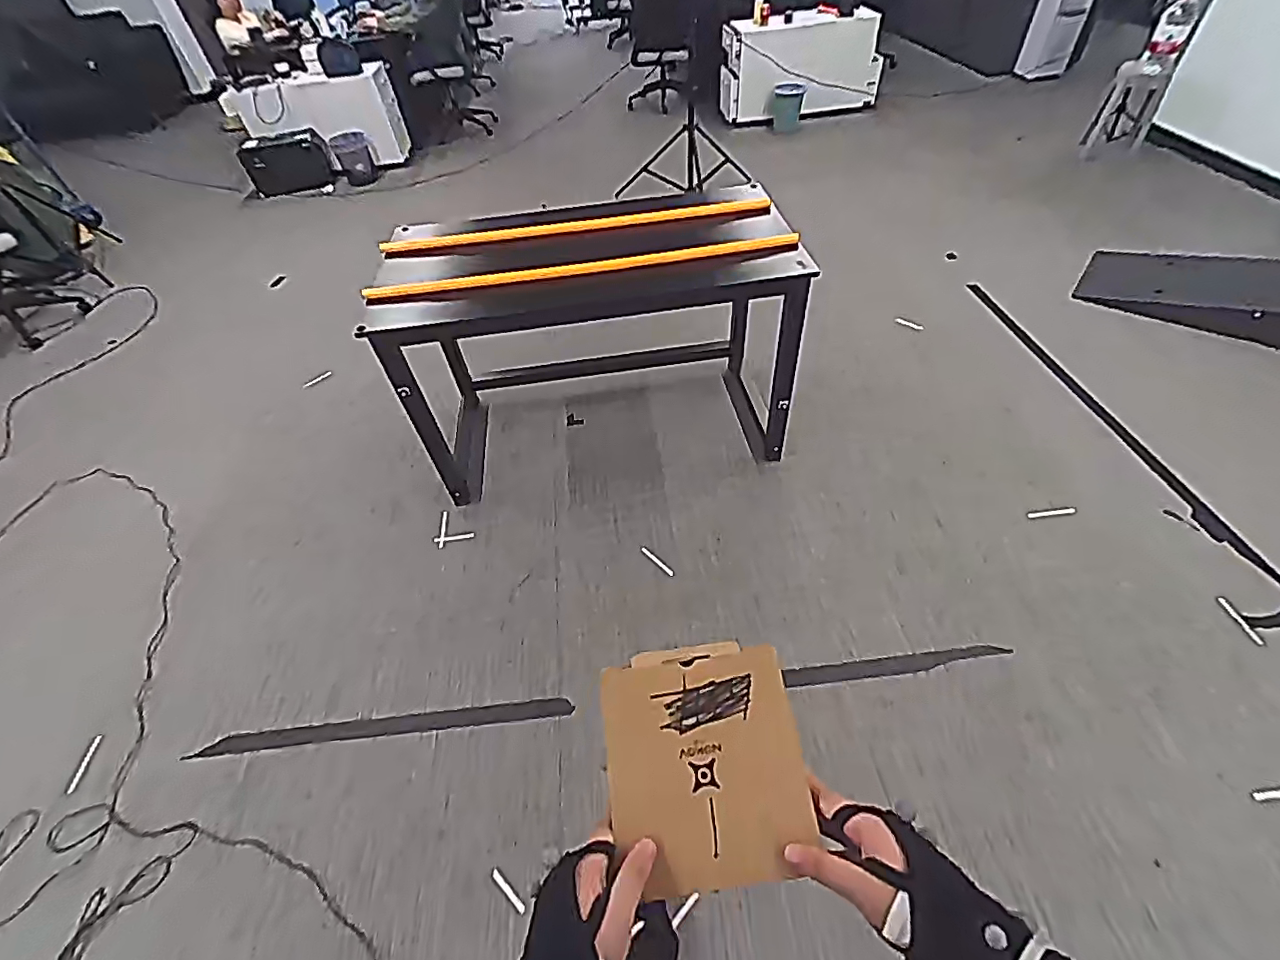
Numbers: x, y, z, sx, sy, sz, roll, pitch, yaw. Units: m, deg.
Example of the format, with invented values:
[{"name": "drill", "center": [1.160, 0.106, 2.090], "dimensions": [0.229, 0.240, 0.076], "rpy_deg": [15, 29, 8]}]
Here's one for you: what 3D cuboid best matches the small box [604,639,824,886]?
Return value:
[{"name": "small box", "center": [0.061, 0.273, 0.535], "dimensions": [0.168, 0.176, 0.179], "rpy_deg": [-9, 61, 1]}]
